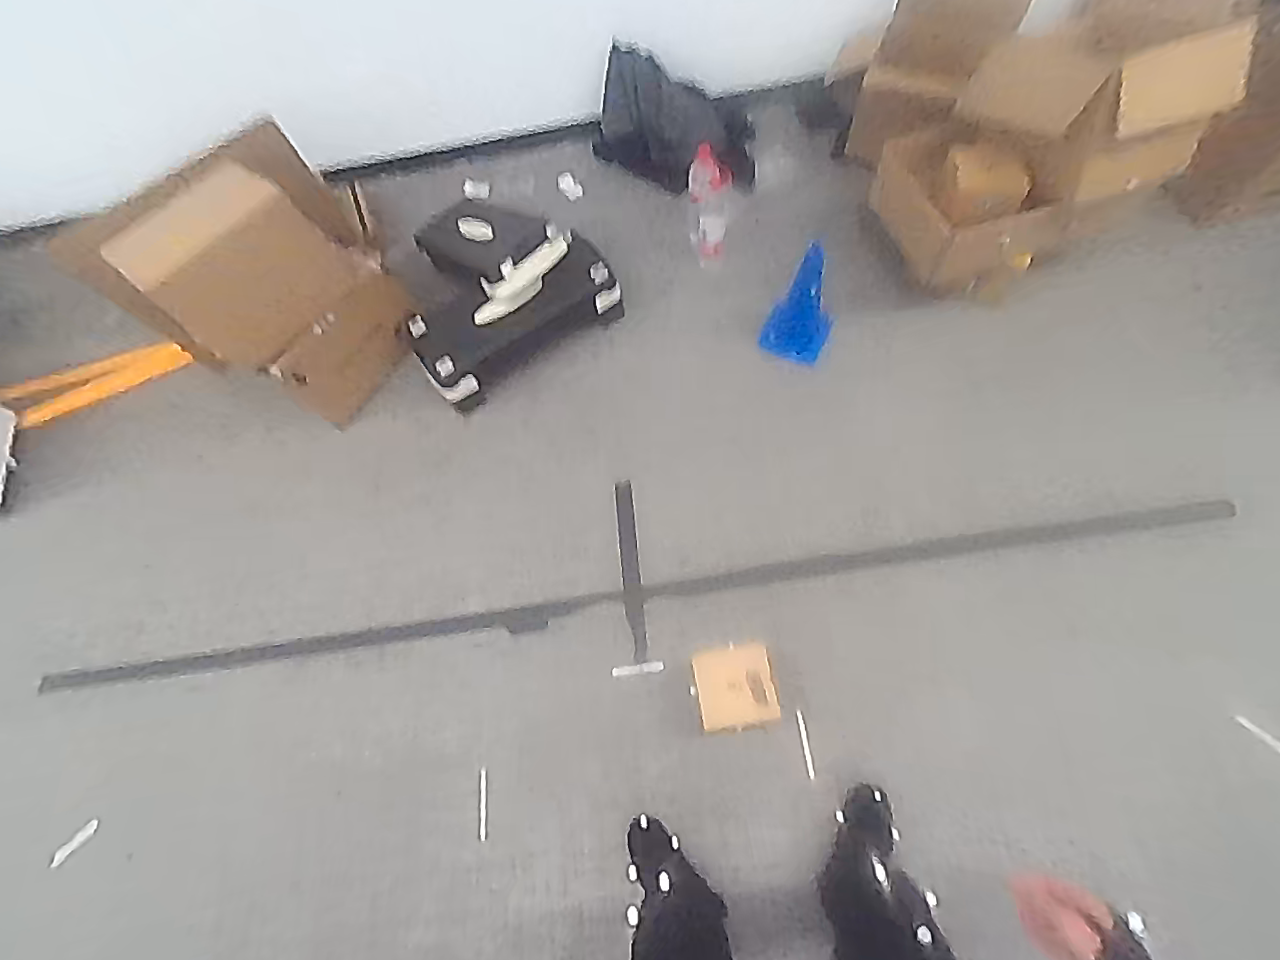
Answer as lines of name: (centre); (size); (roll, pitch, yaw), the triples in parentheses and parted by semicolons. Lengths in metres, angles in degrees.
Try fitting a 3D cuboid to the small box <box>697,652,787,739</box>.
small box: (0.236, 0.514, 1.295); (0.179, 0.176, 0.168); (-11, 66, 3)
